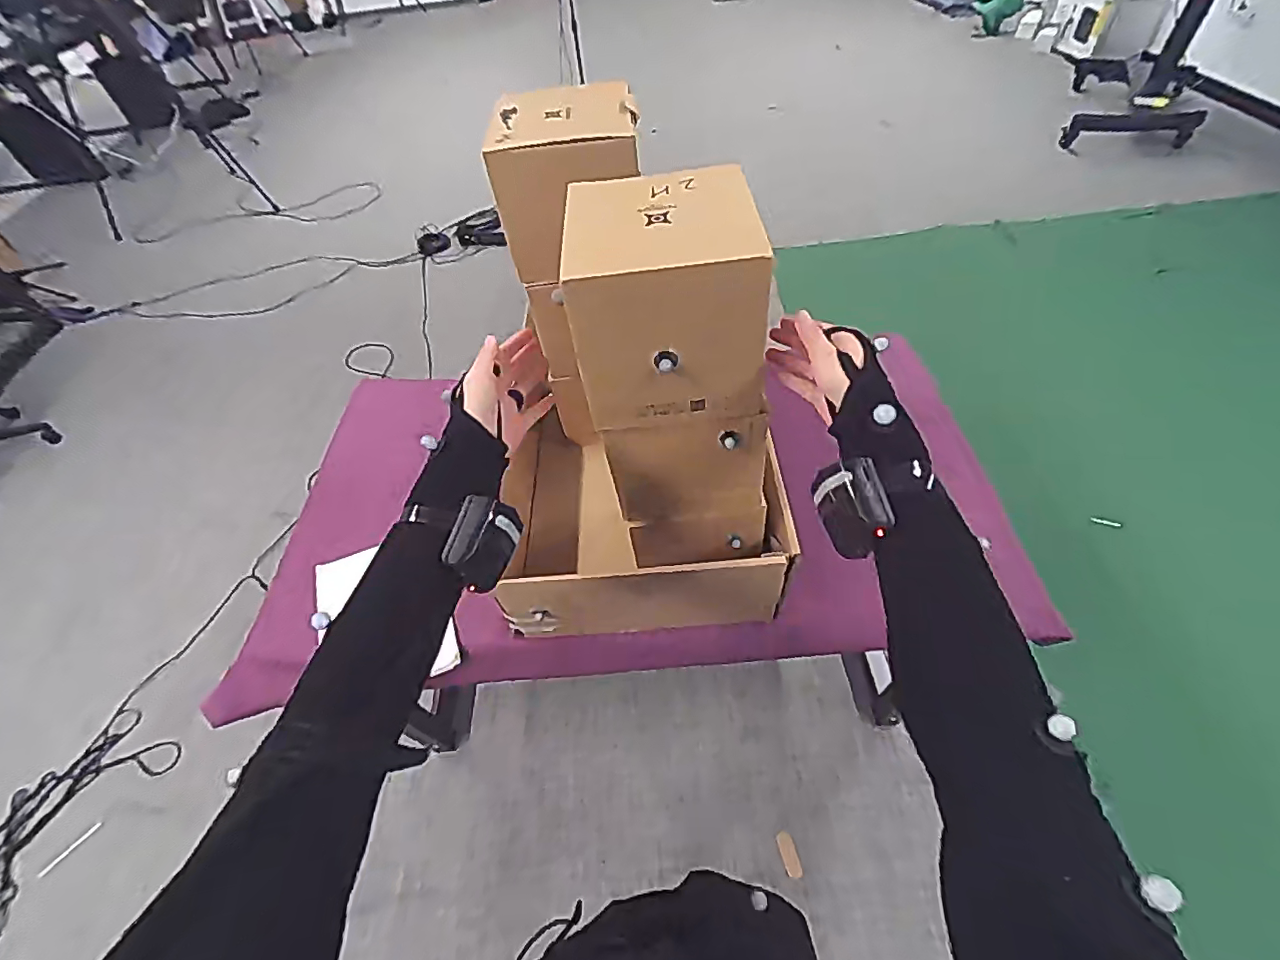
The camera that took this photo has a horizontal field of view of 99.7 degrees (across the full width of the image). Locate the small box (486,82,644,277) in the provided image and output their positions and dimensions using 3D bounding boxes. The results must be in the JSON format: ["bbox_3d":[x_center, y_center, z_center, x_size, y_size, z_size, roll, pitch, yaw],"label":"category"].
[{"bbox_3d":[-0.083,-0.388,0.708,0.179,0.176,0.168,-5,52,1],"label":"small box"}]

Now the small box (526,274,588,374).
[{"bbox_3d":[-0.067,-0.286,0.836,0.179,0.176,0.168,-7,52,1],"label":"small box"}]

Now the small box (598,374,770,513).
[{"bbox_3d":[0.051,-0.074,0.650,0.179,0.176,0.168,-5,50,3],"label":"small box"}]

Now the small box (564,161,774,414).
[{"bbox_3d":[0.028,-0.177,0.524,0.168,0.176,0.179,-5,50,3],"label":"small box"}]
